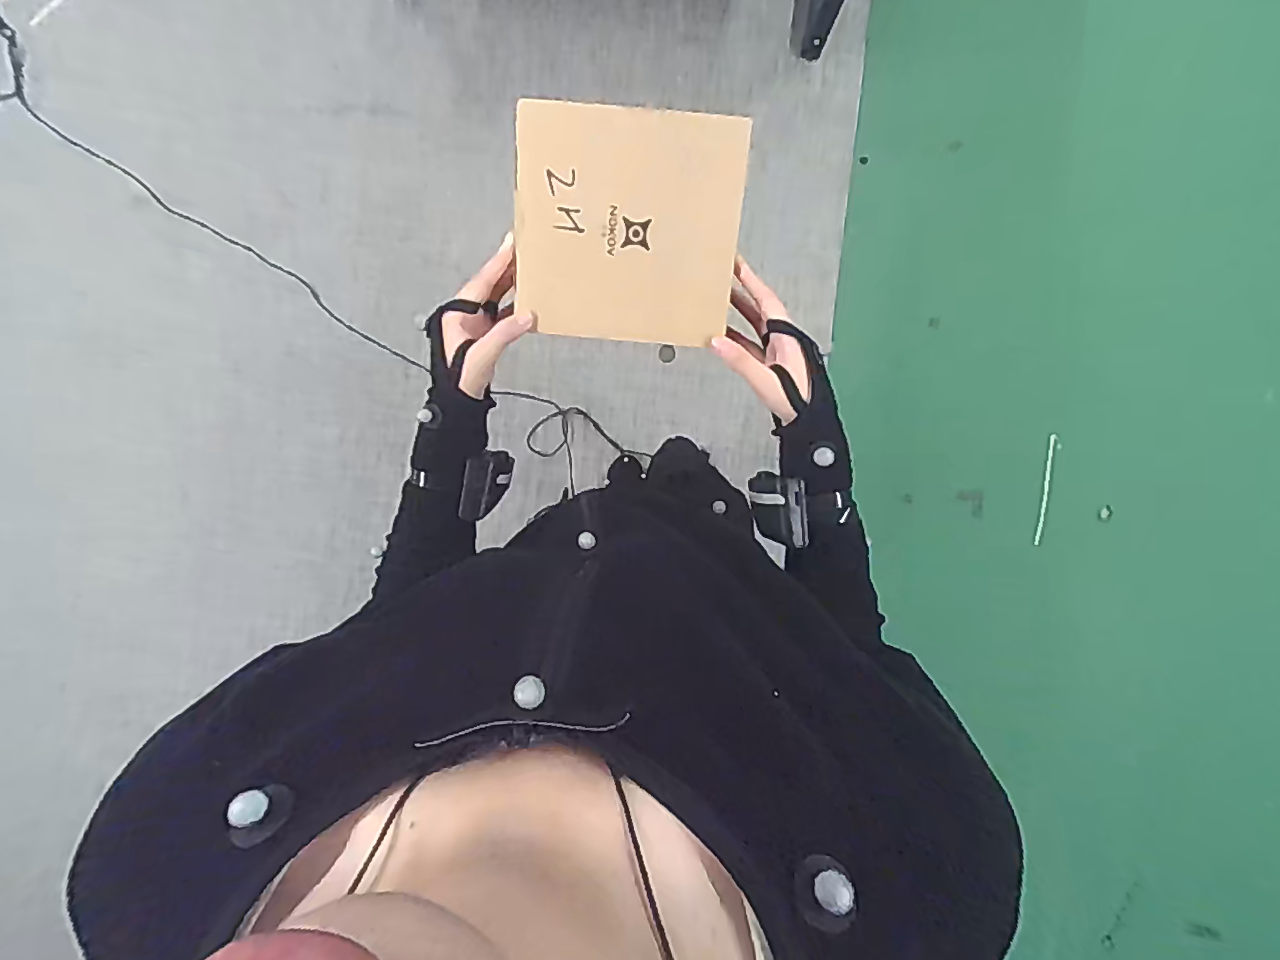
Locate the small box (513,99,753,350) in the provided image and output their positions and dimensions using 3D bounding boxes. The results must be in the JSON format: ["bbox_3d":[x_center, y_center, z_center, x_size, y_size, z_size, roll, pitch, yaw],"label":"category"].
[{"bbox_3d":[-0.008,-0.217,0.496,0.179,0.176,0.168,6,107,1],"label":"small box"}]
